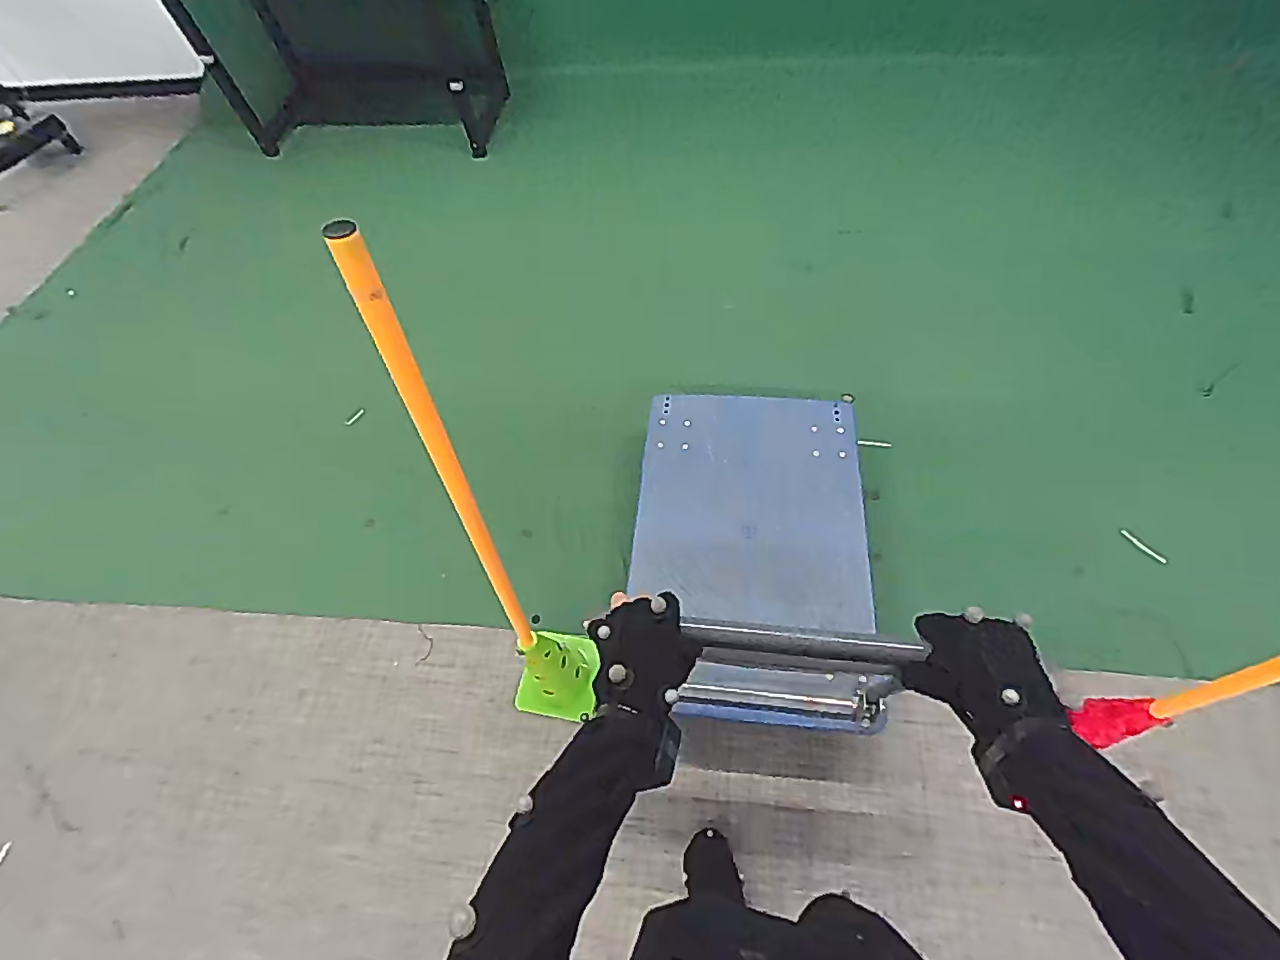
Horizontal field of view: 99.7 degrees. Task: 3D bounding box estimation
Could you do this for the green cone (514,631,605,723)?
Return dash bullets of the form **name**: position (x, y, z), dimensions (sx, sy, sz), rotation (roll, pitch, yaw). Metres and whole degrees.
- **green cone**: position (-0.215, 0.415, 1.243), dimensions (0.202, 0.368, 0.200), rotation (6, 59, 10)
